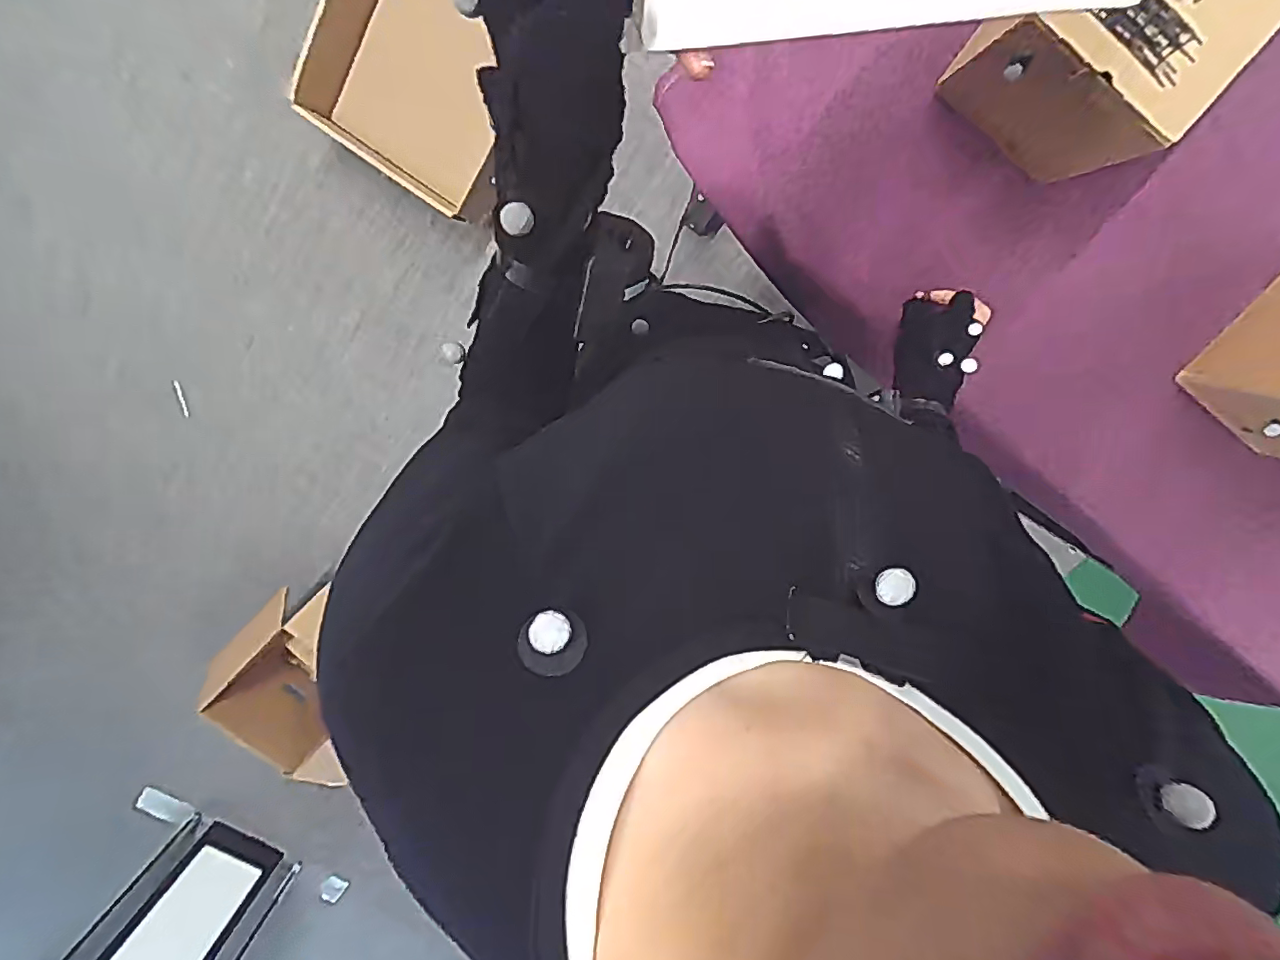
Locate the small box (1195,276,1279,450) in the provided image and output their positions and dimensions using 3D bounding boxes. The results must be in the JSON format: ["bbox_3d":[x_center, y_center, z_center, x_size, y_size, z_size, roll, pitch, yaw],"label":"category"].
[{"bbox_3d":[0.769,-0.125,0.577,0.168,0.176,0.179,34,107,-9],"label":"small box"}]
